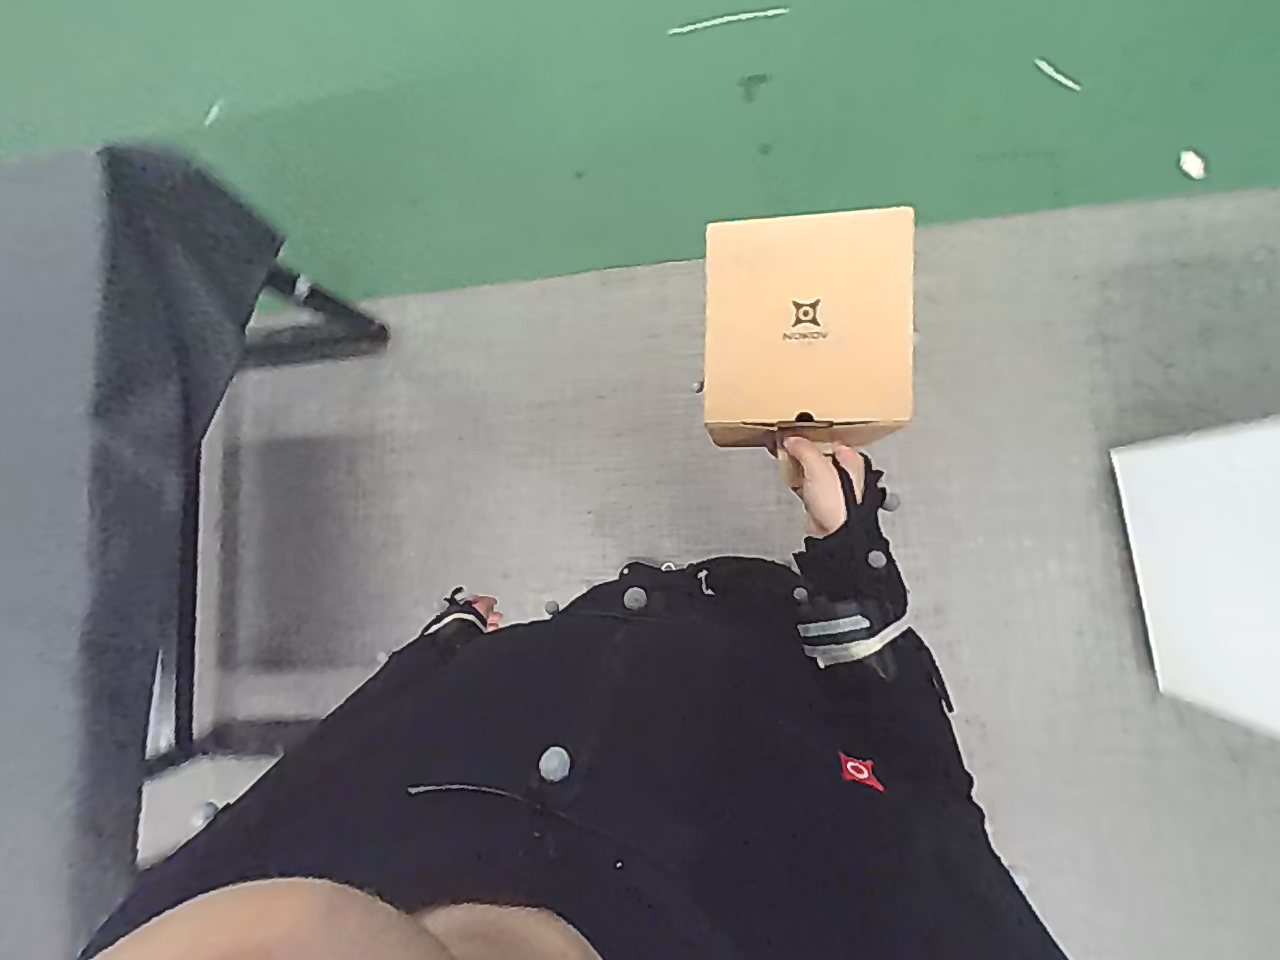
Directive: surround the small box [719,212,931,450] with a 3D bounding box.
[{"bbox_3d":[0.163,-0.125,0.518,0.168,0.176,0.179,1,88,11],"label":"small box"}]
